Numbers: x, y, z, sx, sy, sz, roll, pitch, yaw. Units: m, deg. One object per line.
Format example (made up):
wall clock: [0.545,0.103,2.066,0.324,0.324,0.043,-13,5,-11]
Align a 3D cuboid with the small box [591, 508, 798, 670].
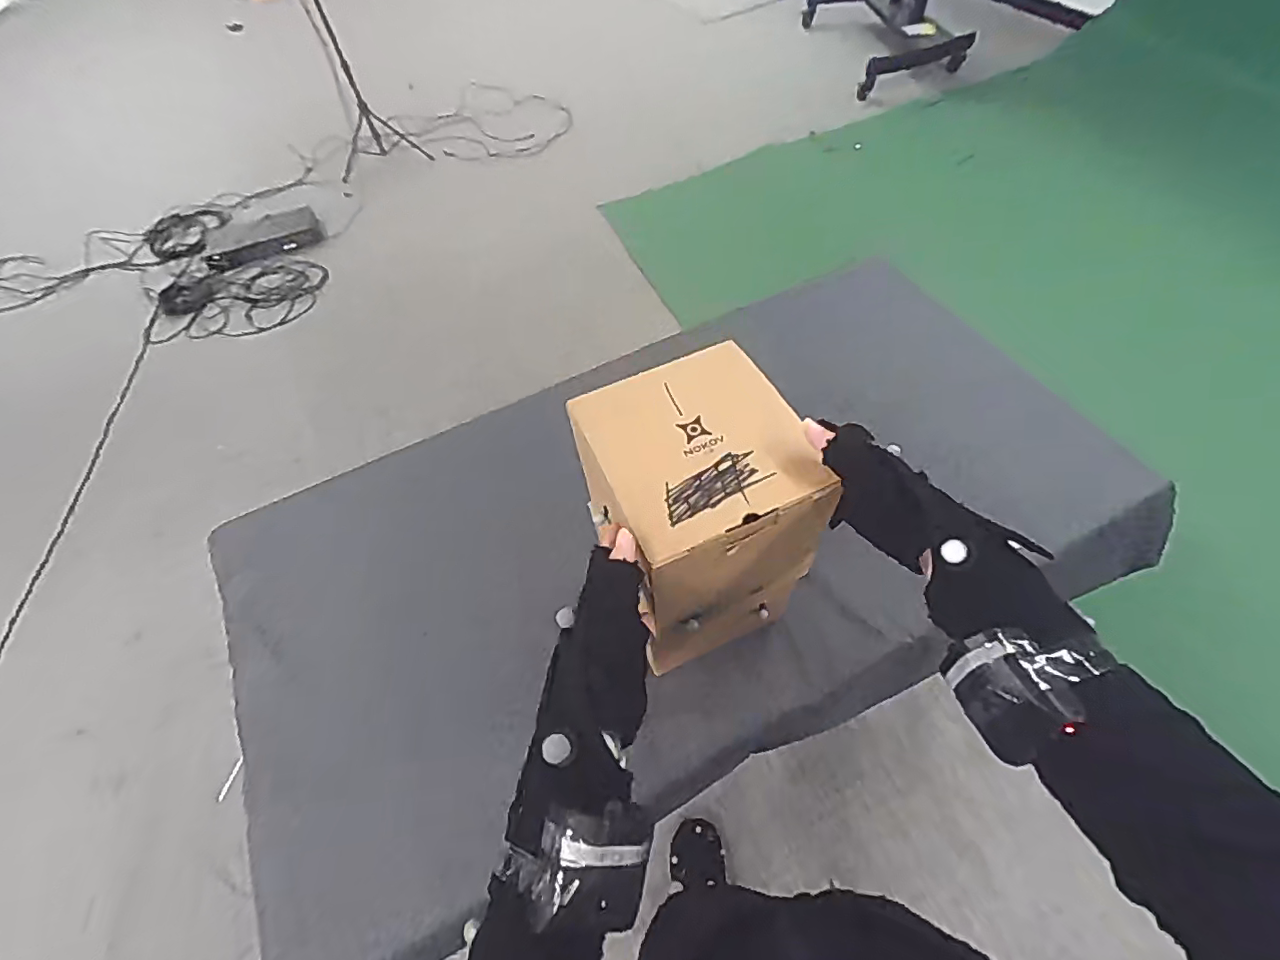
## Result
small box: [0.060,0.101,0.647,0.179,0.176,0.168,-23,57,-9]

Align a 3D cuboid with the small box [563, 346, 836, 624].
small box: [0.048,0.015,0.508,0.168,0.176,0.179,-25,59,-12]
